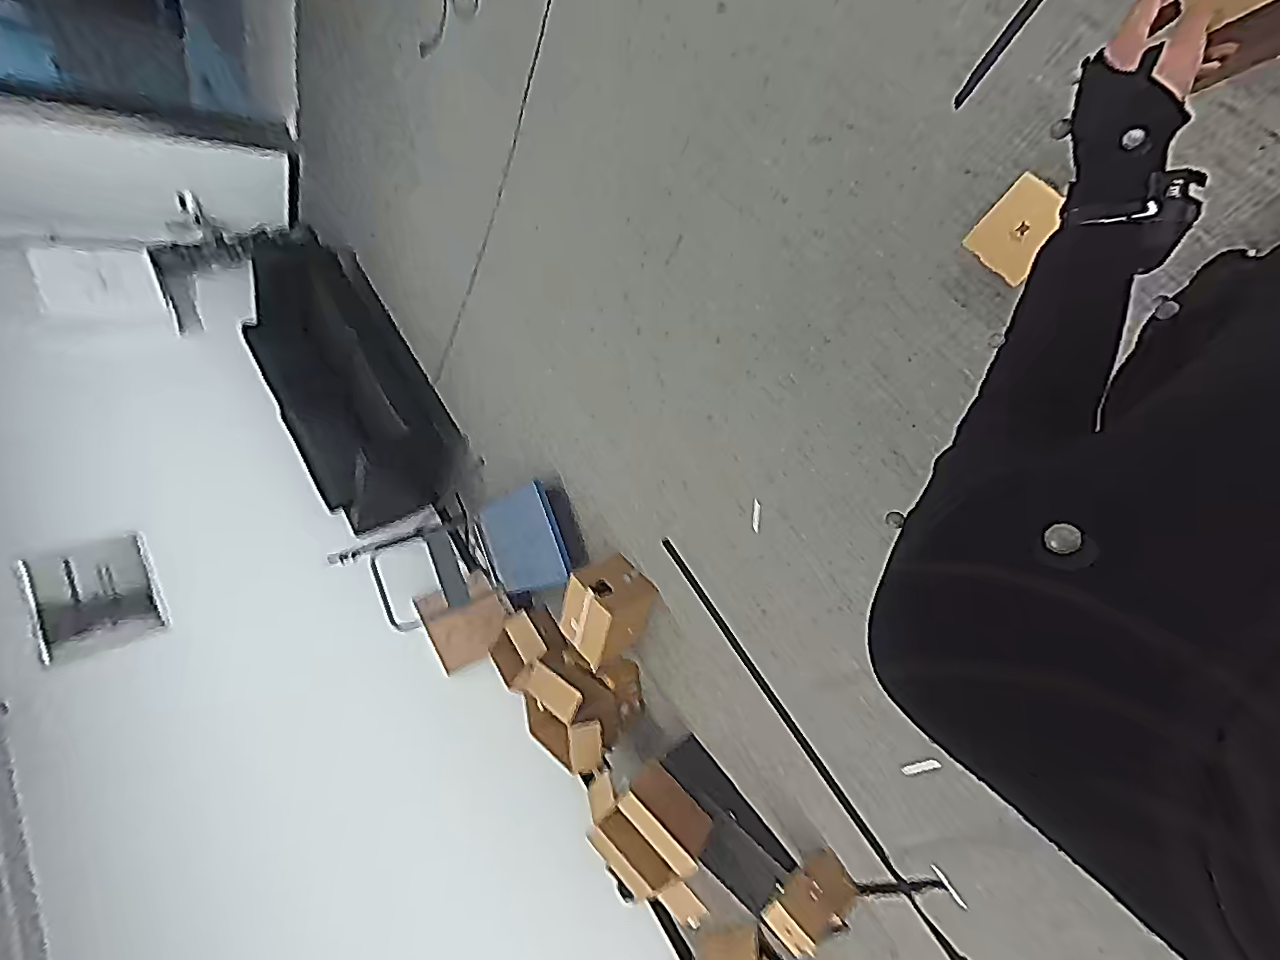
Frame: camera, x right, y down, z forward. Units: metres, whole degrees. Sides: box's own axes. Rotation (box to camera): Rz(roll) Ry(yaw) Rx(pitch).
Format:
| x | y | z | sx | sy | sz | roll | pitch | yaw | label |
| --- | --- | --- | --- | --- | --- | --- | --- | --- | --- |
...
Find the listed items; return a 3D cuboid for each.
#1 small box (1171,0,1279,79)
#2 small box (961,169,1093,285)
| x | y | z | sx | sy | sz | roll | pitch | yaw | label |
| --- | --- | --- | --- | --- | --- | --- | --- | --- | --- |
| 0.511 | -0.453 | 0.405 | 0.168 | 0.176 | 0.179 | -8 | 99 | 48 | small box |
| 0.885 | -0.571 | 1.233 | 0.168 | 0.176 | 0.179 | 53 | 137 | 19 | small box |
